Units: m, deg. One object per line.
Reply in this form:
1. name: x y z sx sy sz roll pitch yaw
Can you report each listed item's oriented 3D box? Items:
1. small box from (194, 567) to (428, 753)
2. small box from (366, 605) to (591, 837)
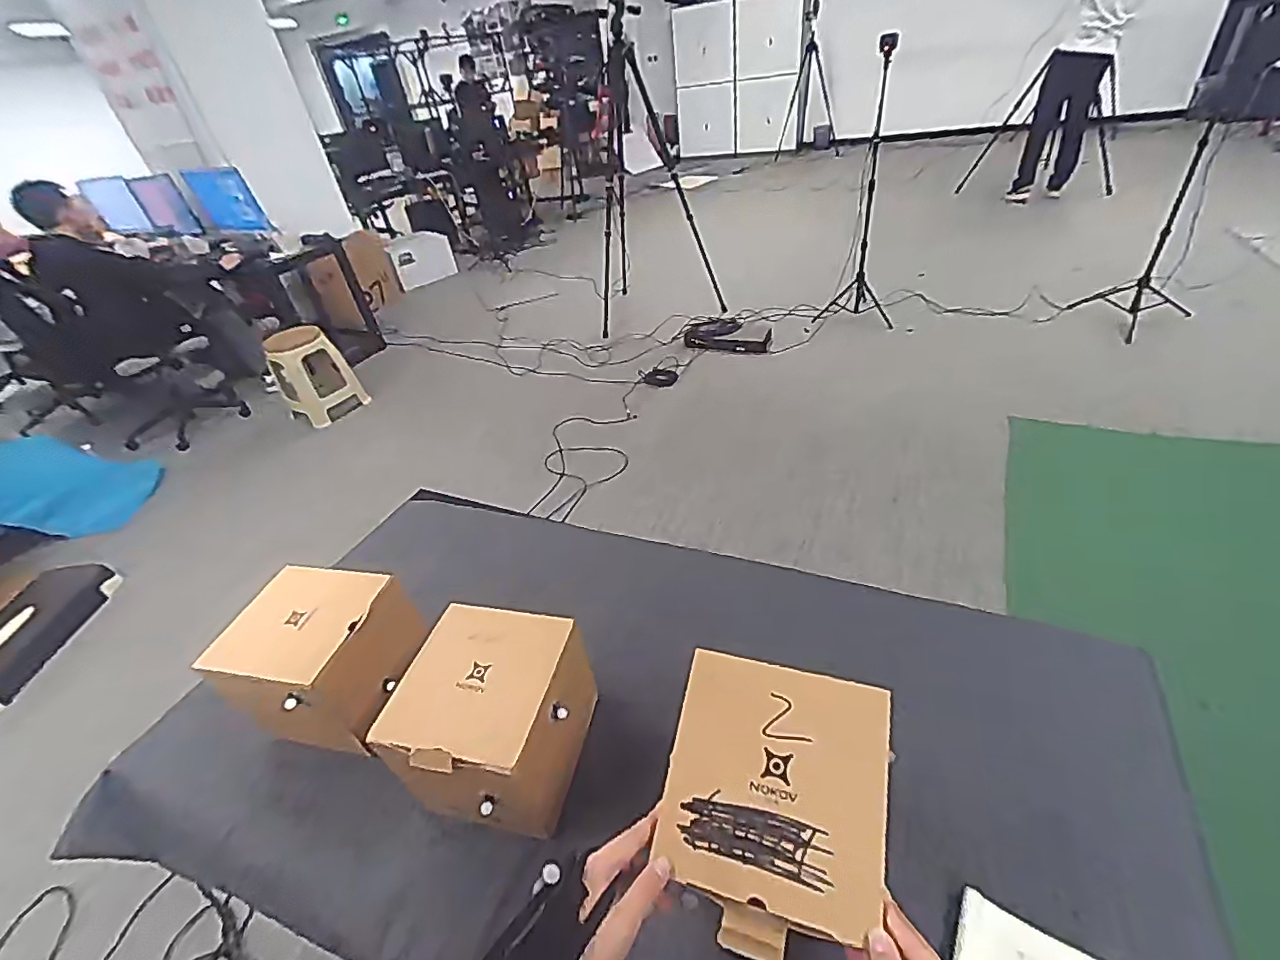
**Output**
1. small box: -0.415 0.238 0.721 0.179 0.176 0.168 2 38 13
2. small box: -0.164 0.273 0.623 0.168 0.176 0.179 4 38 15
